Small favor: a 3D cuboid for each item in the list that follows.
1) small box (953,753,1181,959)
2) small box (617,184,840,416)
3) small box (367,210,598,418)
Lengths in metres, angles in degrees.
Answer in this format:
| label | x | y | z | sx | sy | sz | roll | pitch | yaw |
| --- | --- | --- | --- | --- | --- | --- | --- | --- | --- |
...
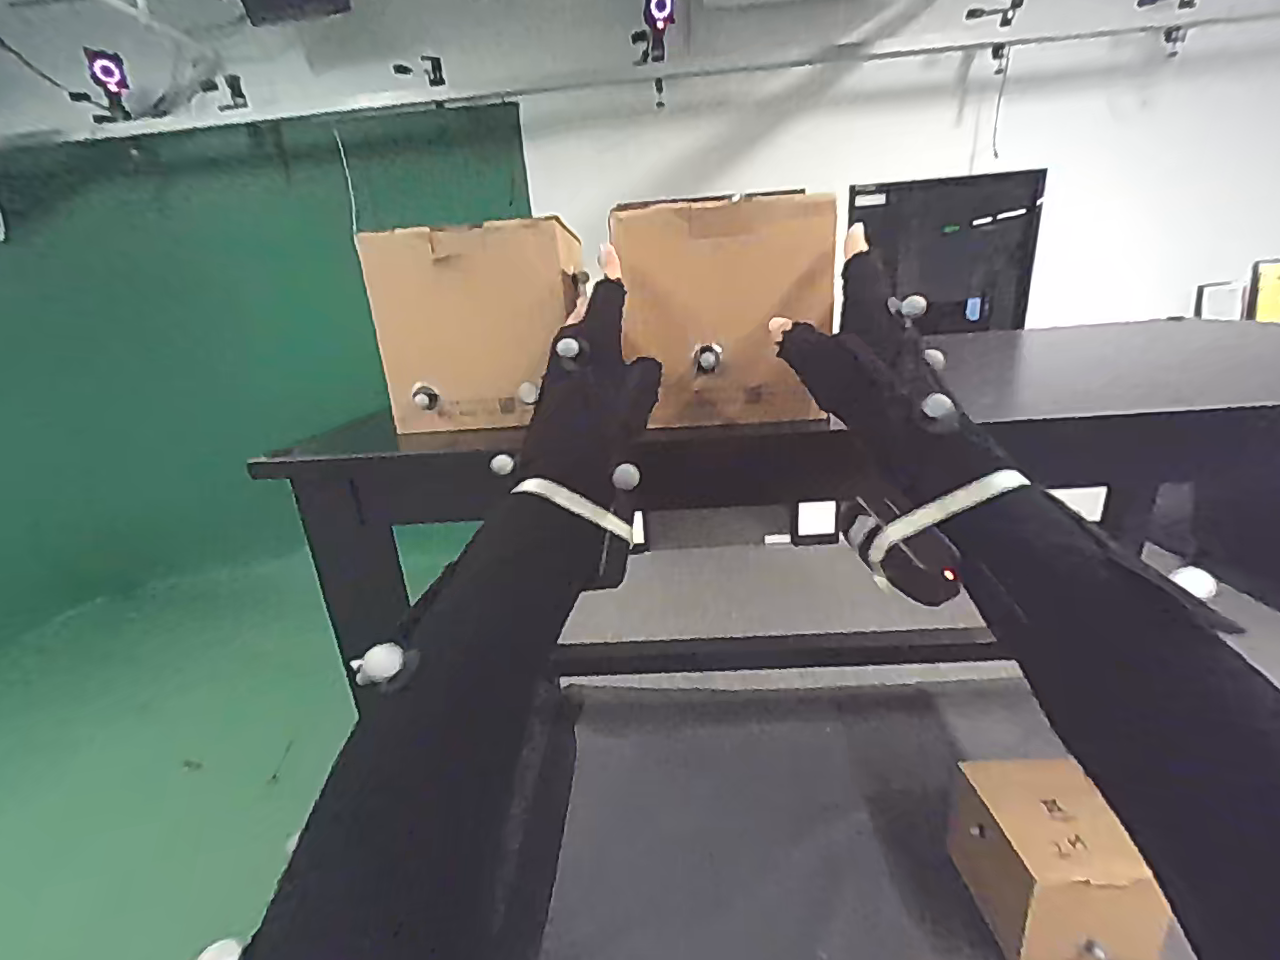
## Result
| label | x | y | z | sx | sy | sz | roll | pitch | yaw |
| --- | --- | --- | --- | --- | --- | --- | --- | --- | --- |
| small box | 0.547 | 0.501 | 0.725 | 0.168 | 0.176 | 0.179 | -4 | 17 | 3 |
| small box | 0.073 | -0.156 | 0.498 | 0.168 | 0.176 | 0.179 | -3 | 18 | 4 |
| small box | -0.135 | -0.158 | 0.541 | 0.168 | 0.176 | 0.179 | -3 | 17 | 2 |
